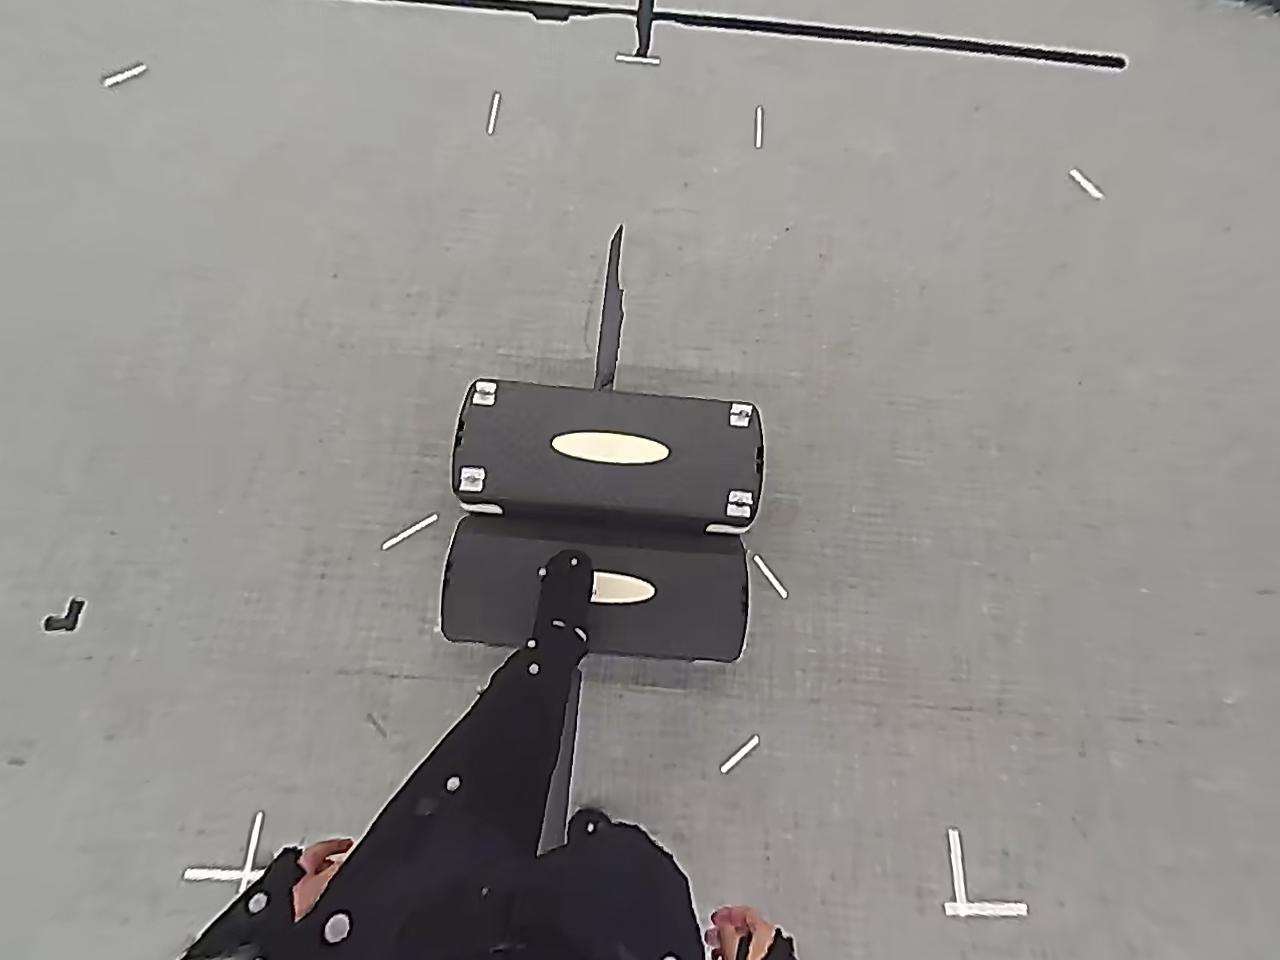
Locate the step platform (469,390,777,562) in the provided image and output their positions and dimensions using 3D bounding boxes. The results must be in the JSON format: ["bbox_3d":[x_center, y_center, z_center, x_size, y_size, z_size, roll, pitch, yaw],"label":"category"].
[{"bbox_3d":[-0.035,-0.005,1.251,0.684,0.204,0.286,9,73,-1],"label":"step platform"}]
